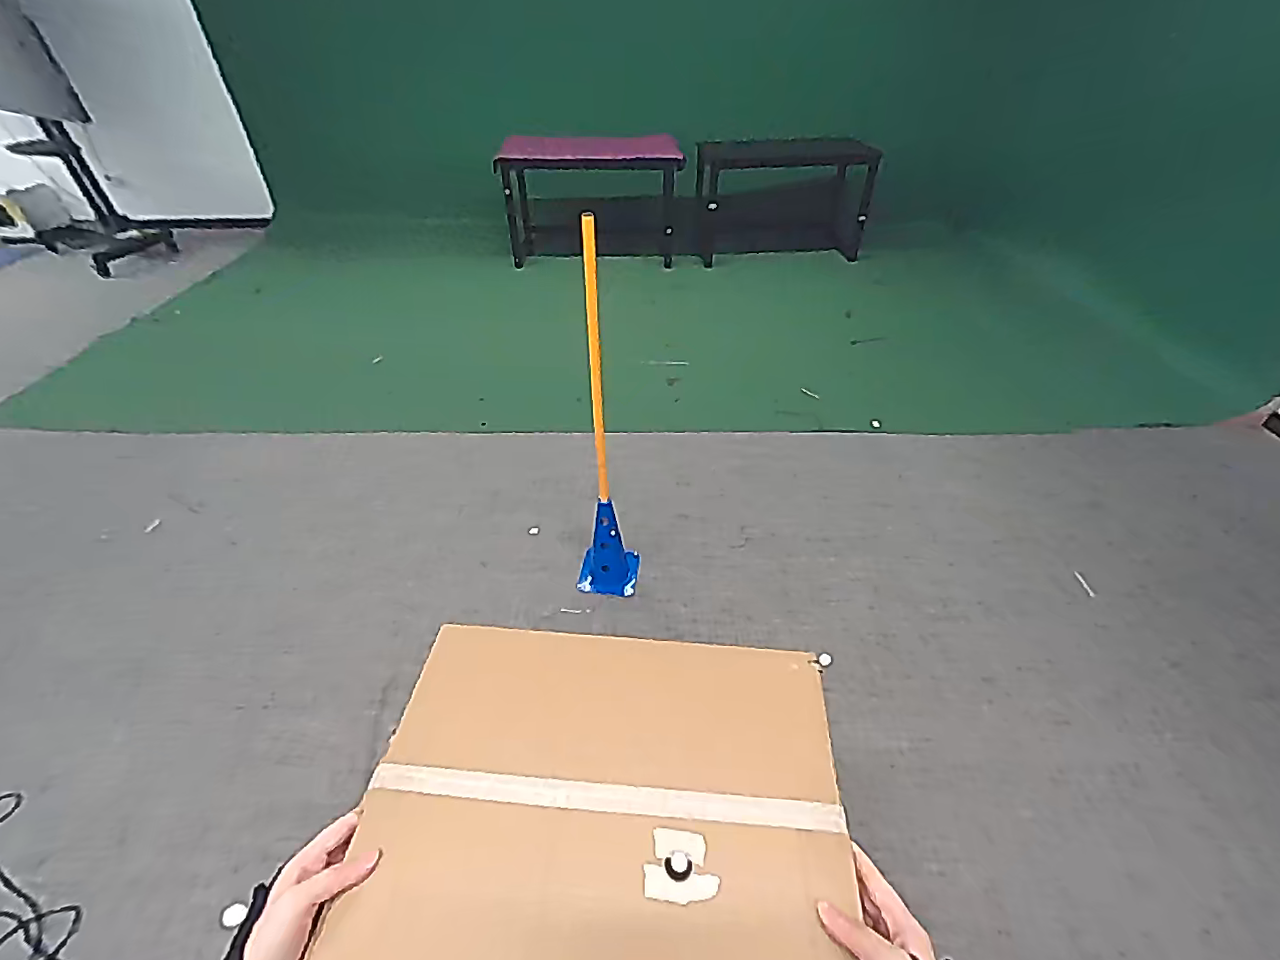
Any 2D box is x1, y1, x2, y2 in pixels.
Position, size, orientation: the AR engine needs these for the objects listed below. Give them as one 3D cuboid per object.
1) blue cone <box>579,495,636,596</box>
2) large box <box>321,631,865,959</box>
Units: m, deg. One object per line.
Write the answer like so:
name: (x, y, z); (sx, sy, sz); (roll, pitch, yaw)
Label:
blue cone: (-0.116, 0.208, 1.830); (0.193, 0.380, 0.192); (6, 41, 7)
large box: (-0.028, 0.389, 0.573); (0.408, 0.320, 0.320); (4, 43, 3)
